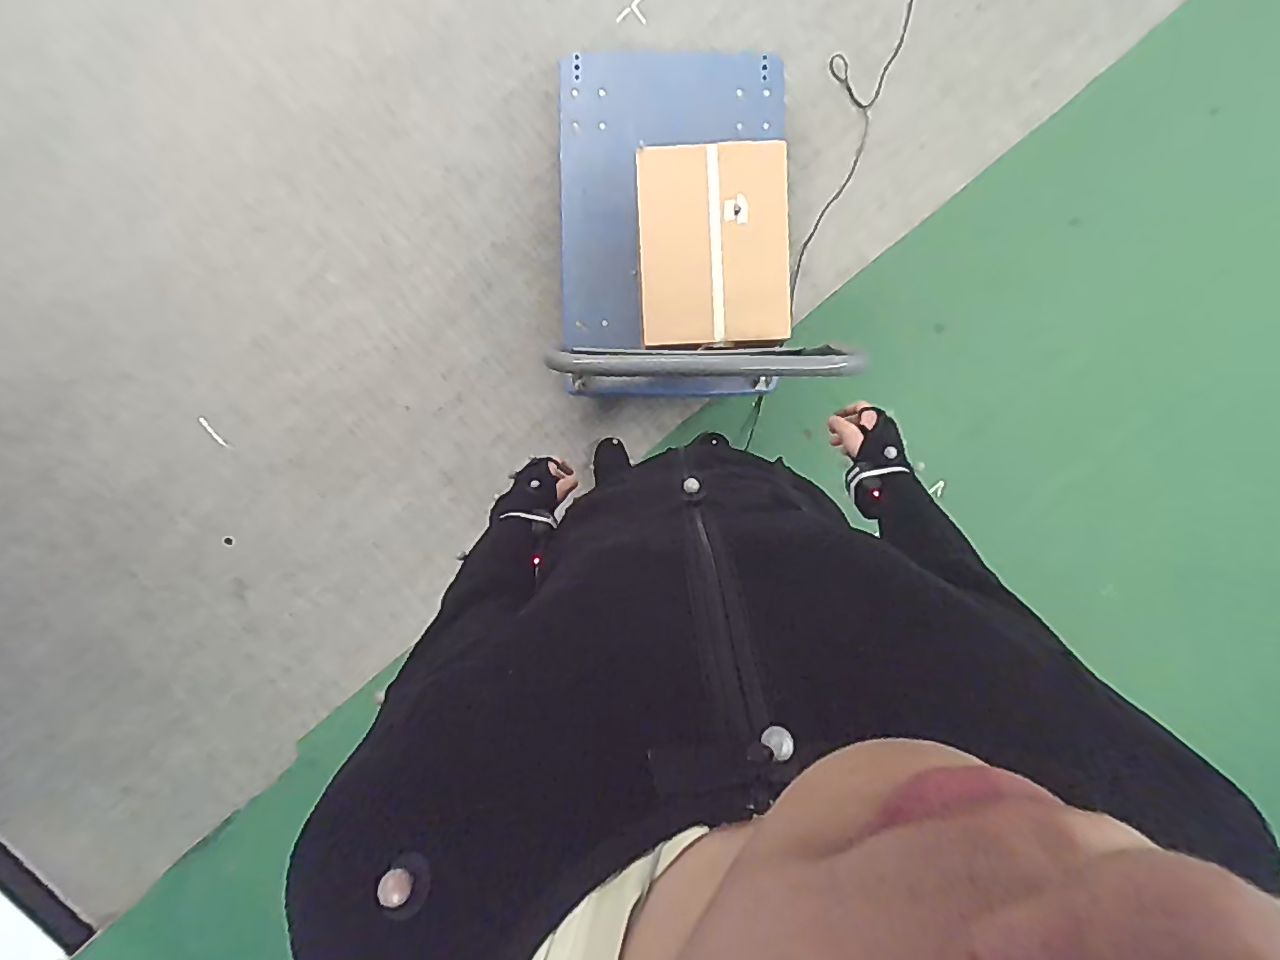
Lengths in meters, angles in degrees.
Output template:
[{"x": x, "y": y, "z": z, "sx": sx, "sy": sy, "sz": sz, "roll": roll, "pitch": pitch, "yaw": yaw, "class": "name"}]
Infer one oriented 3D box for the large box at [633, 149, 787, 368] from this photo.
[{"x": 0.150, "y": -0.499, "z": 1.297, "sx": 0.320, "sy": 0.320, "sz": 0.408, "roll": -3, "pitch": 94, "yaw": -1, "class": "large box"}]
